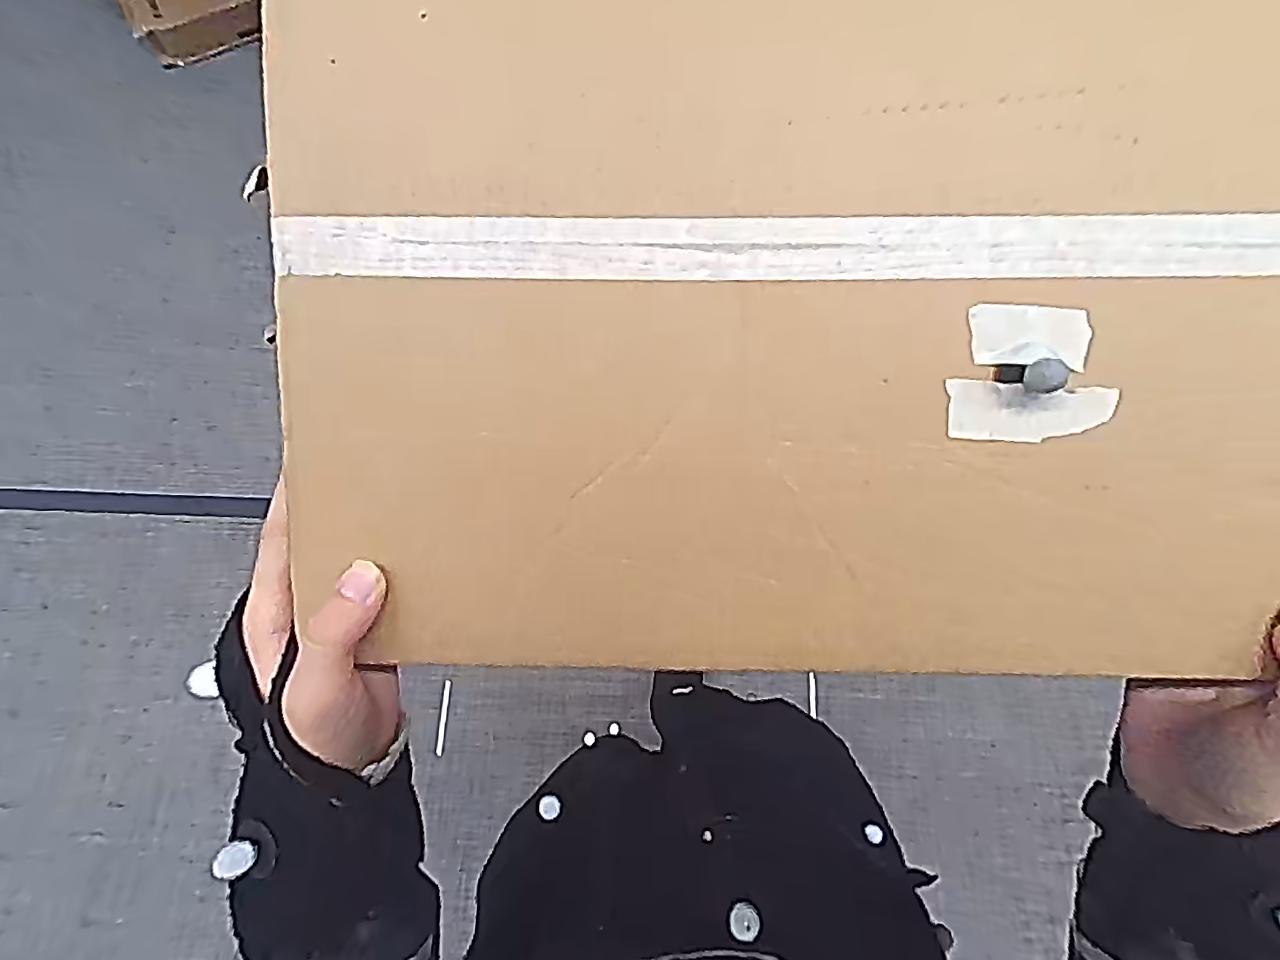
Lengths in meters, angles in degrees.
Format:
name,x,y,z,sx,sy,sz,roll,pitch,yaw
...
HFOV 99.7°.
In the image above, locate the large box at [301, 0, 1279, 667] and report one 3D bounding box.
name,x,y,z,sx,sy,sz,roll,pitch,yaw
large box,0.071,-0.091,0.355,0.408,0.320,0.320,0,95,0
